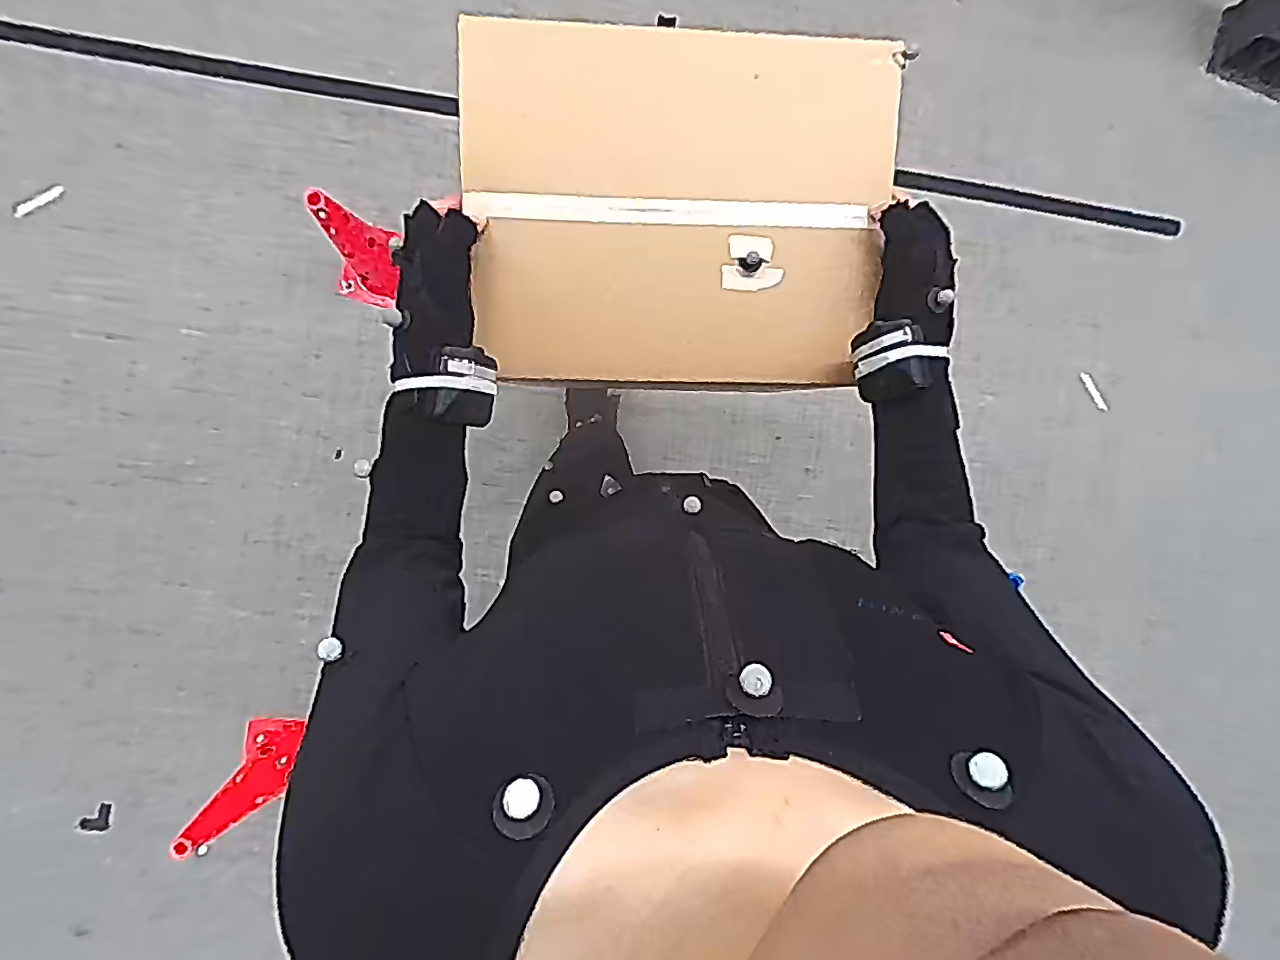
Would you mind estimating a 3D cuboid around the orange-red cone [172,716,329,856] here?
[{"bbox_3d":[-0.900,0.716,1.225,0.198,0.360,0.199,5,91,-3],"label":"orange-red cone"}]

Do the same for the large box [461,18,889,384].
[{"bbox_3d":[0.025,-0.282,0.661,0.408,0.320,0.320,0,98,-4],"label":"large box"}]

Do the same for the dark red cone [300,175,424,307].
[{"bbox_3d":[-0.656,-0.562,1.230,0.201,0.394,0.202,13,89,-5],"label":"dark red cone"}]
